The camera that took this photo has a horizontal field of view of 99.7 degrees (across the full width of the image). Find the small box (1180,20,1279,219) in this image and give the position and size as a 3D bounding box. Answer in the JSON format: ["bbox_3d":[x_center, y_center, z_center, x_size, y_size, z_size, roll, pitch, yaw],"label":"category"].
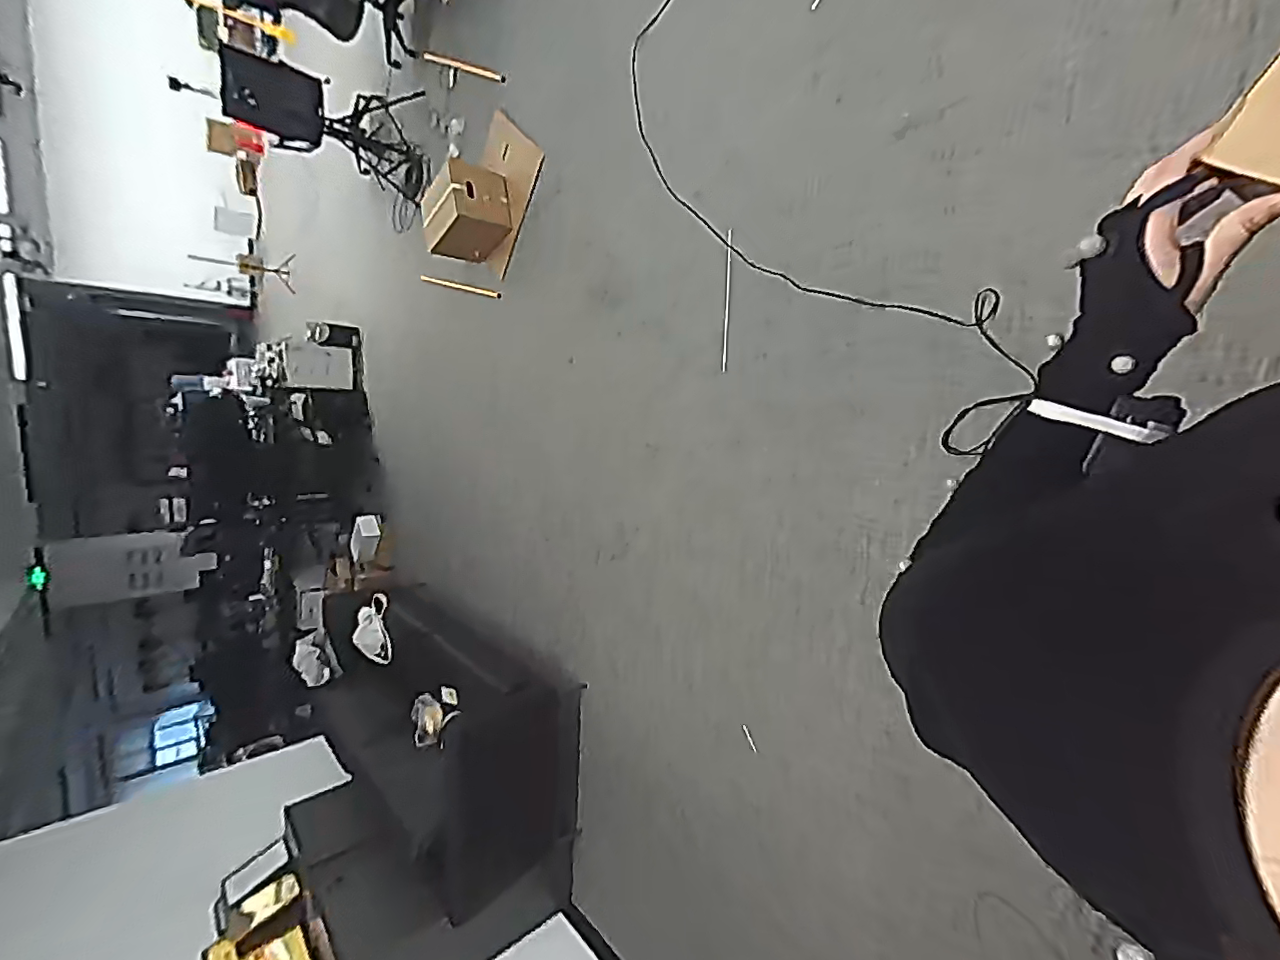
[{"bbox_3d":[0.451,-0.207,0.270,0.179,0.176,0.168,54,137,36],"label":"small box"}]
